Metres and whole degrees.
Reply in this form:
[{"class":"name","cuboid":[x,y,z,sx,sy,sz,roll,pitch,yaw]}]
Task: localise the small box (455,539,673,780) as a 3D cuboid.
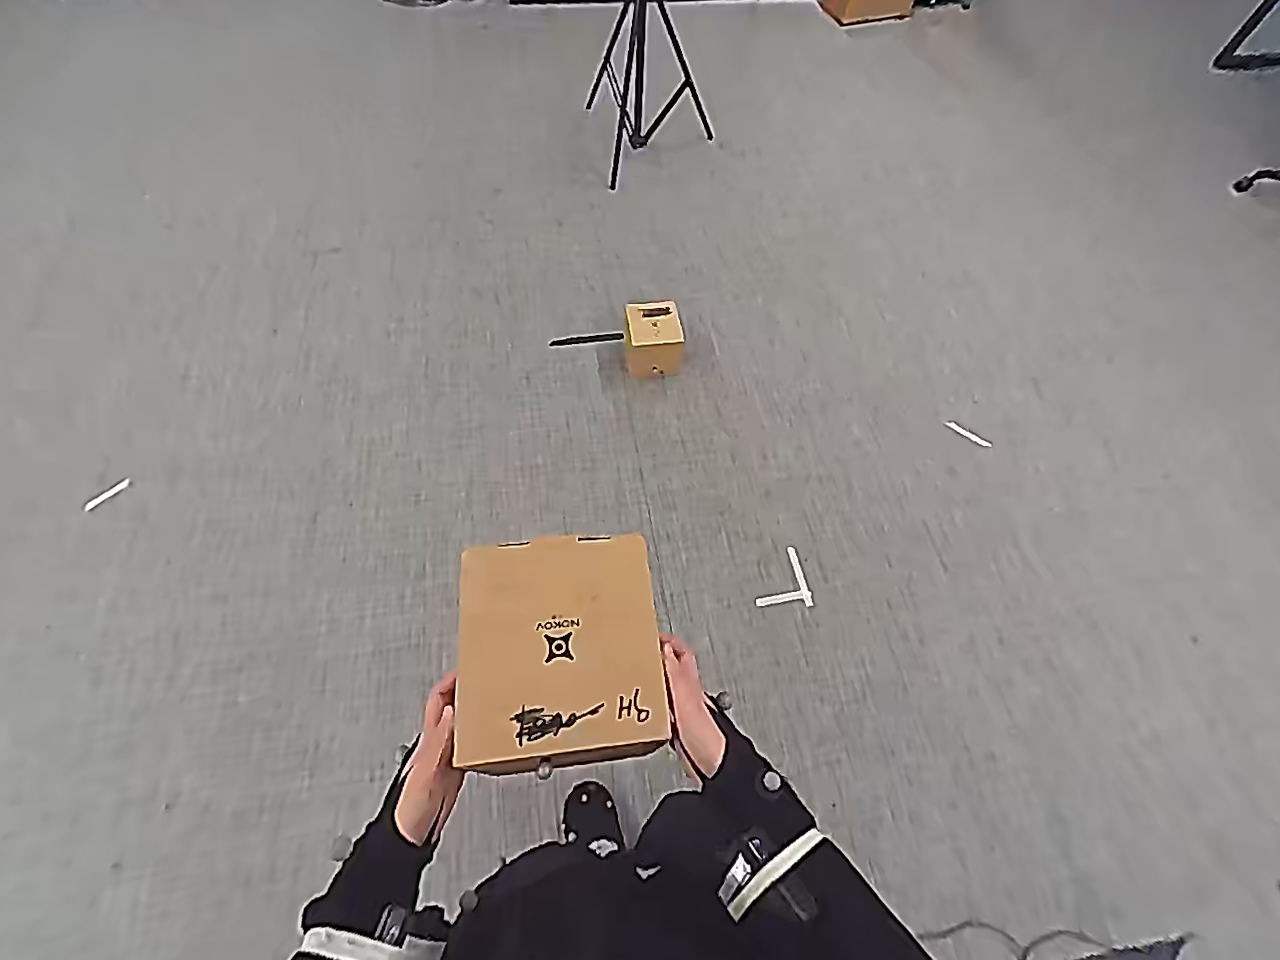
[{"class":"small box","cuboid":[-0.072,0.173,0.514,0.168,0.176,0.179,-4,59,-8]}]
